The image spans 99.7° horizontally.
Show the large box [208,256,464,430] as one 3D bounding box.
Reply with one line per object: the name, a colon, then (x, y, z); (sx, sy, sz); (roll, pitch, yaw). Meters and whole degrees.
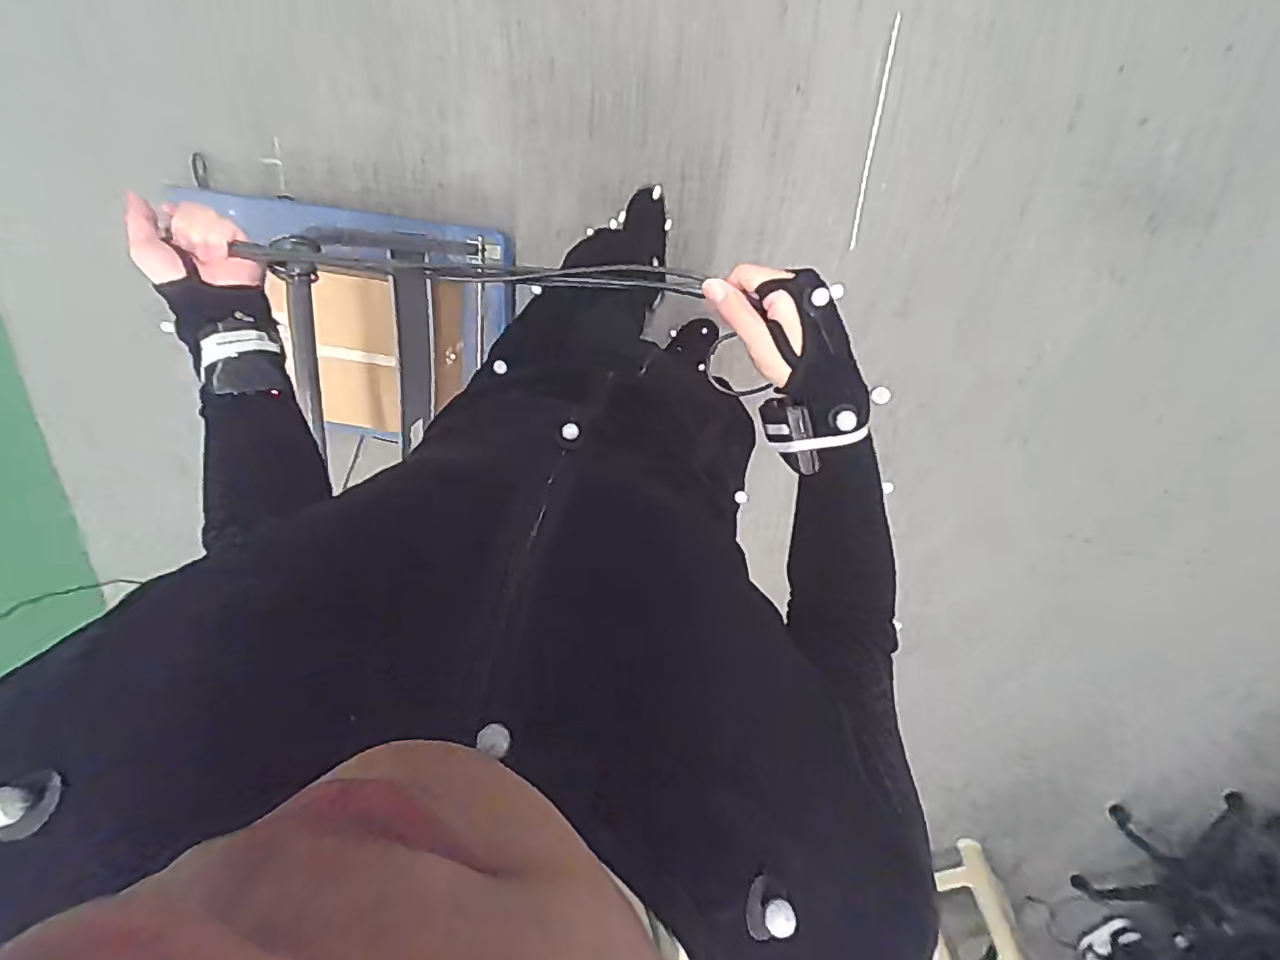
large box: (-0.659, -0.331, 1.248); (0.408, 0.320, 0.320); (9, 112, 3)
